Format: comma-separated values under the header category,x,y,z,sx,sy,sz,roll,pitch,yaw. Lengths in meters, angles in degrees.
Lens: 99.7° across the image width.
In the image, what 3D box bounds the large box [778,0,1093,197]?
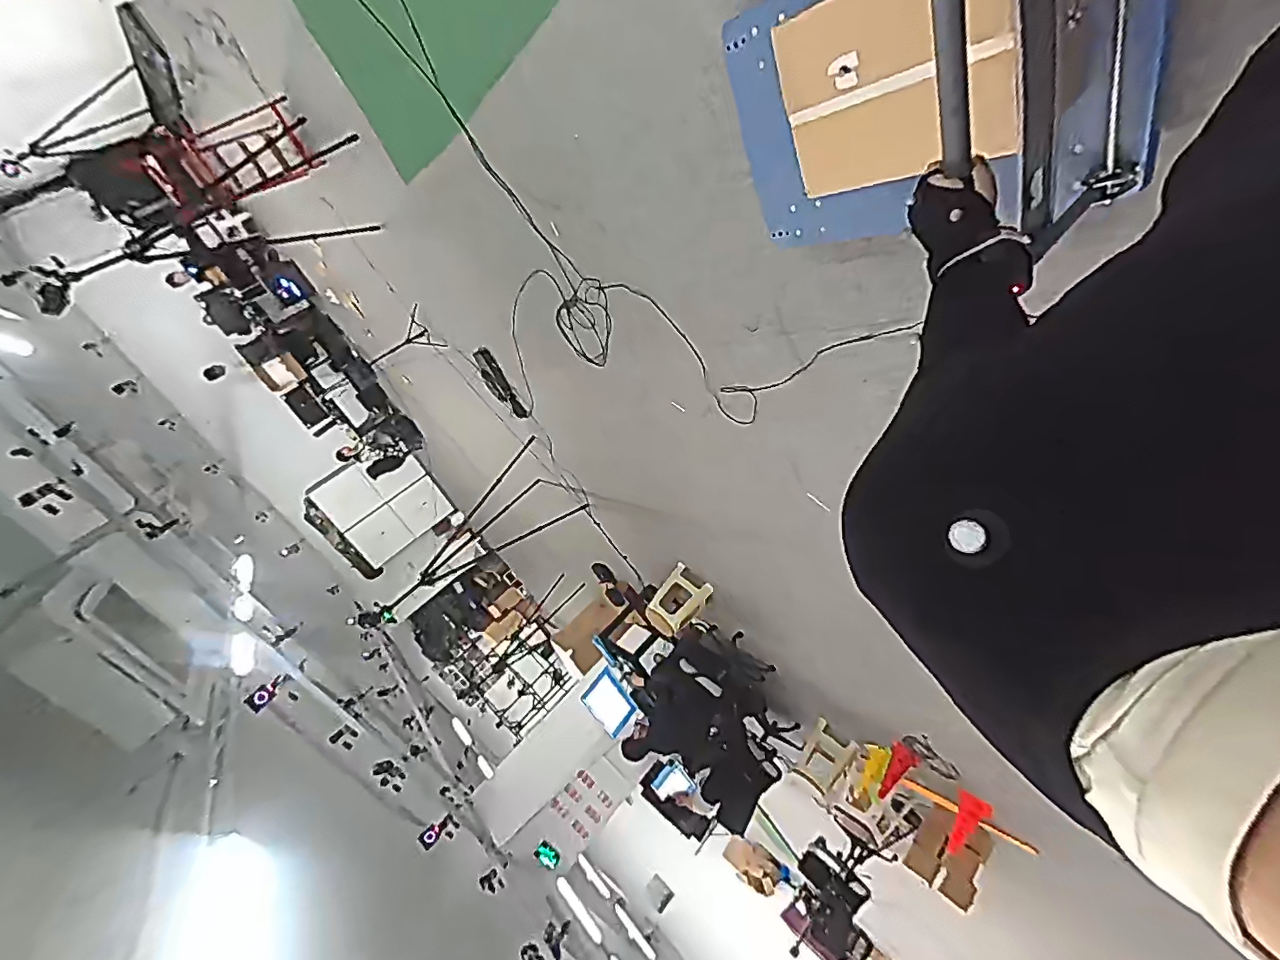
category,x,y,z,sx,sy,sz,roll,pitch,yaw
large box,0.539,-0.782,0.997,0.408,0.320,0.320,18,141,49
